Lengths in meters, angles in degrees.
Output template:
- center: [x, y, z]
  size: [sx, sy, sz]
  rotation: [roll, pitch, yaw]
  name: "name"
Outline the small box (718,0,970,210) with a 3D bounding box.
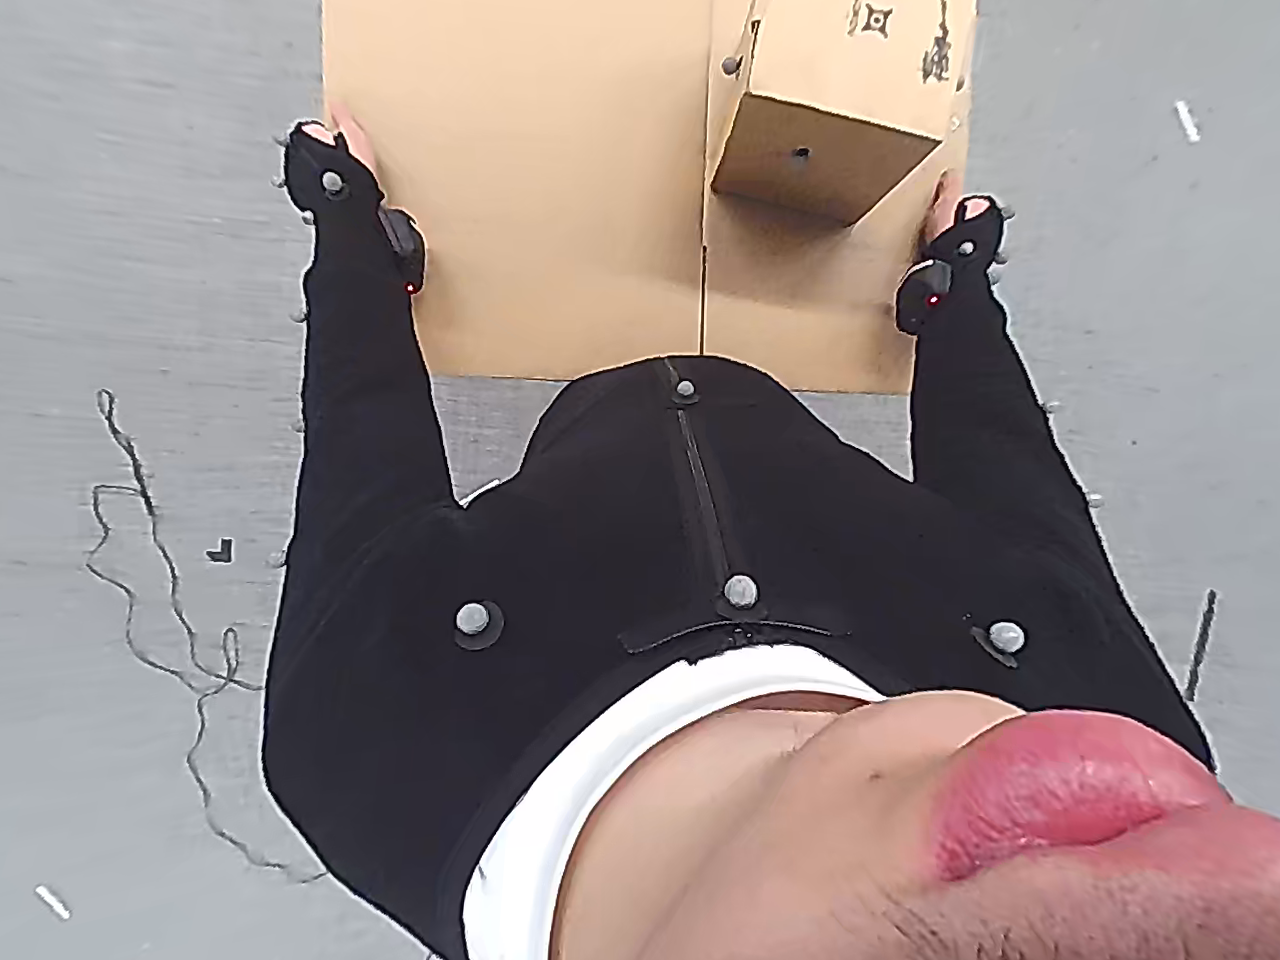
- center: [0.184, -0.393, 0.530]
  size: [0.179, 0.176, 0.168]
  rotation: [11, 94, -2]
  name: "small box"
